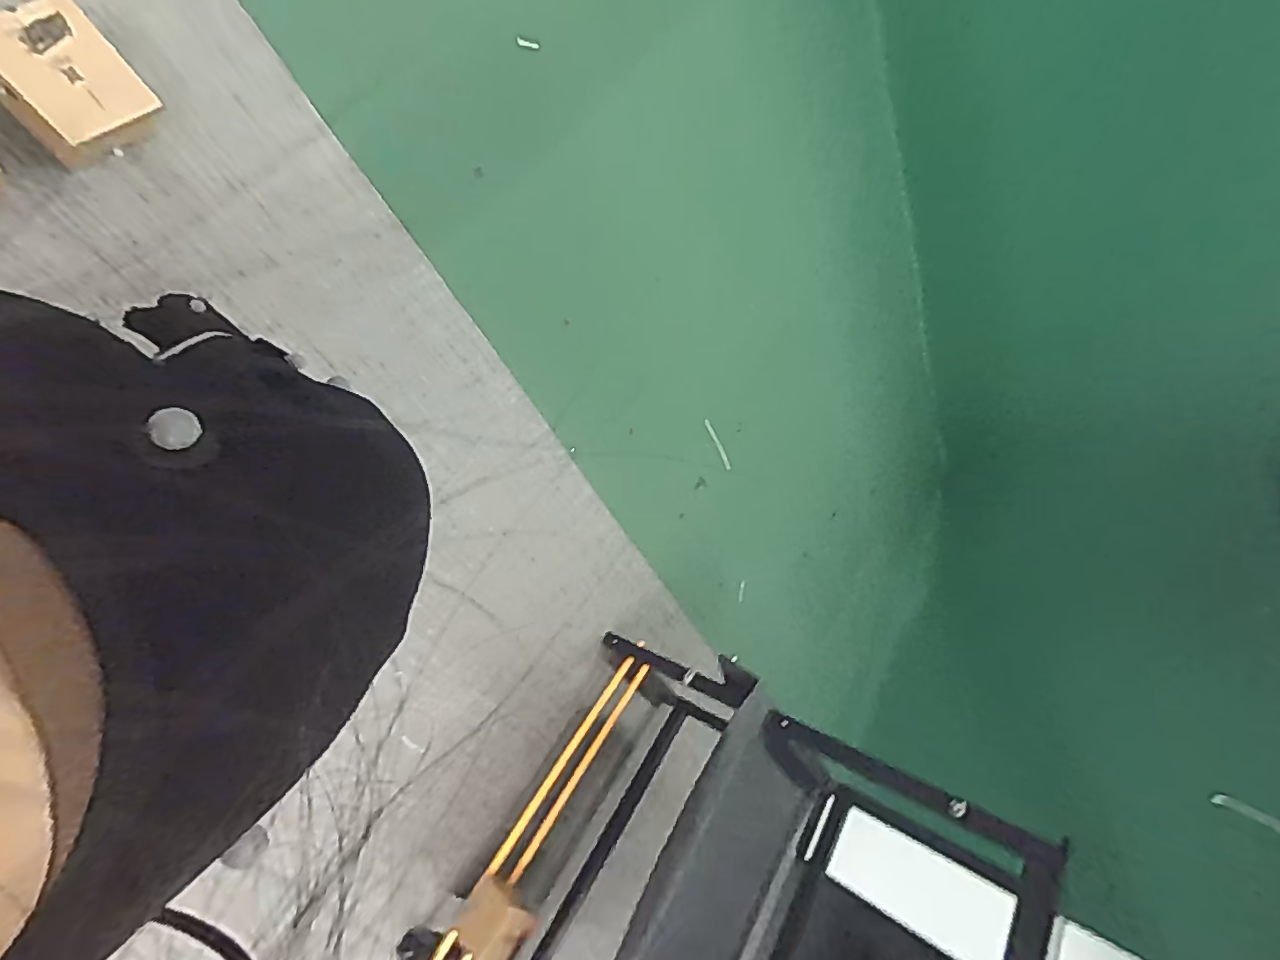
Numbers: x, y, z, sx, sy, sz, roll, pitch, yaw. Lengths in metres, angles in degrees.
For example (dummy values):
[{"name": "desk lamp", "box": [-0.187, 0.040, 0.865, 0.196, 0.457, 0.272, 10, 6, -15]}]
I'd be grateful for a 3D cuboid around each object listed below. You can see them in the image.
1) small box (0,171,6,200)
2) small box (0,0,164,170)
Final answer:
[{"name": "small box", "box": [-1.133, -0.491, 0.815, 0.168, 0.176, 0.179, -54, 130, -25]}, {"name": "small box", "box": [-0.987, -0.676, 0.934, 0.168, 0.176, 0.179, -53, 131, -26]}]
